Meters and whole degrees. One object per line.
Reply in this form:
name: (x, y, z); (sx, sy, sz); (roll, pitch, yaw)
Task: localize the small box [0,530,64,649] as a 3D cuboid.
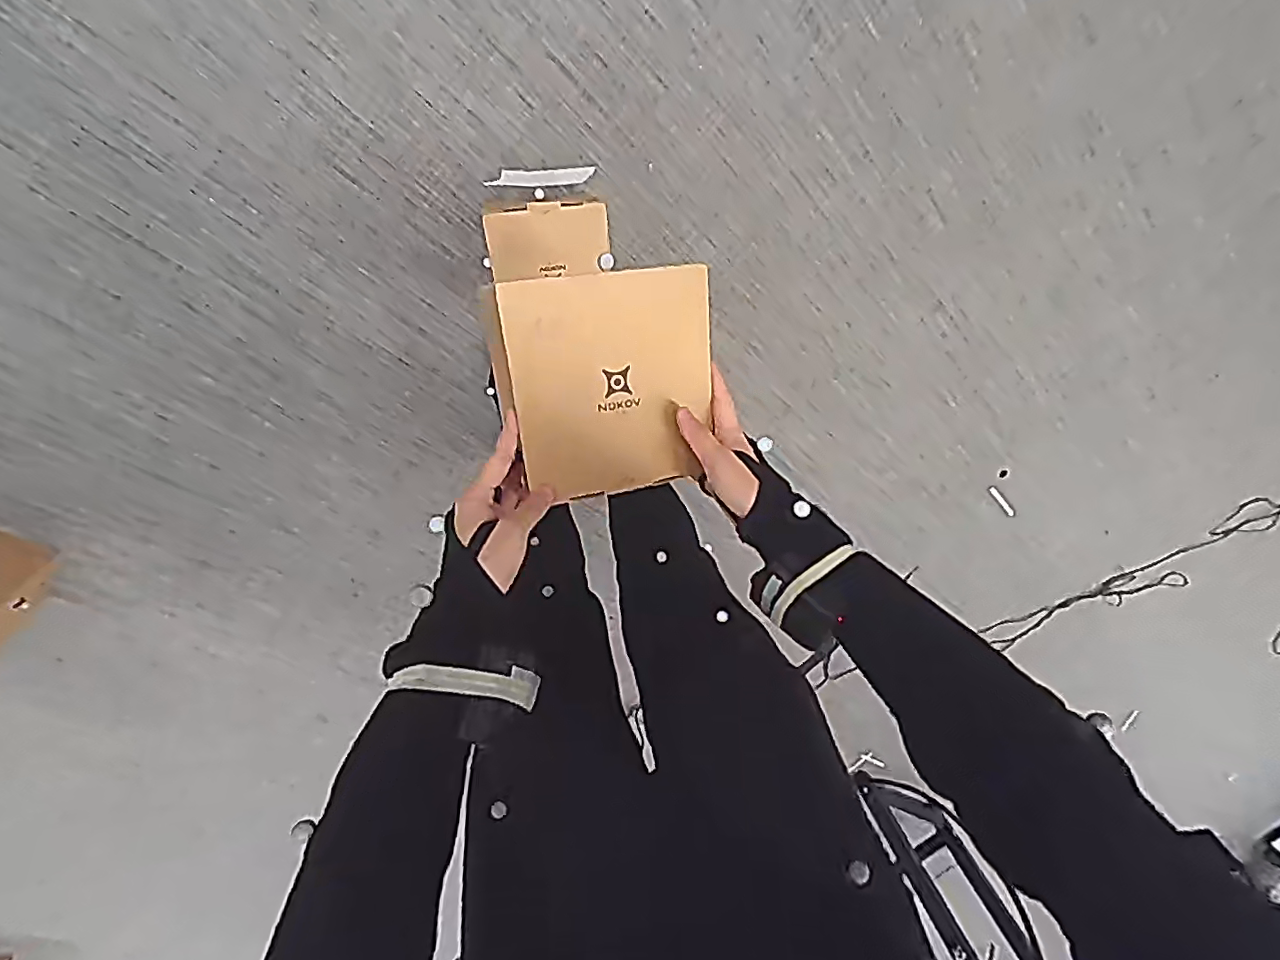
small box: (-1.113, 0.185, 0.877); (0.179, 0.176, 0.168); (30, 108, -26)

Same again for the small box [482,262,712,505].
small box: (-0.045, -0.099, 0.501); (0.168, 0.176, 0.179); (-12, 113, -16)

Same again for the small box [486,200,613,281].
small box: (-0.135, -0.323, 0.819); (0.168, 0.176, 0.179); (-10, 121, -9)
